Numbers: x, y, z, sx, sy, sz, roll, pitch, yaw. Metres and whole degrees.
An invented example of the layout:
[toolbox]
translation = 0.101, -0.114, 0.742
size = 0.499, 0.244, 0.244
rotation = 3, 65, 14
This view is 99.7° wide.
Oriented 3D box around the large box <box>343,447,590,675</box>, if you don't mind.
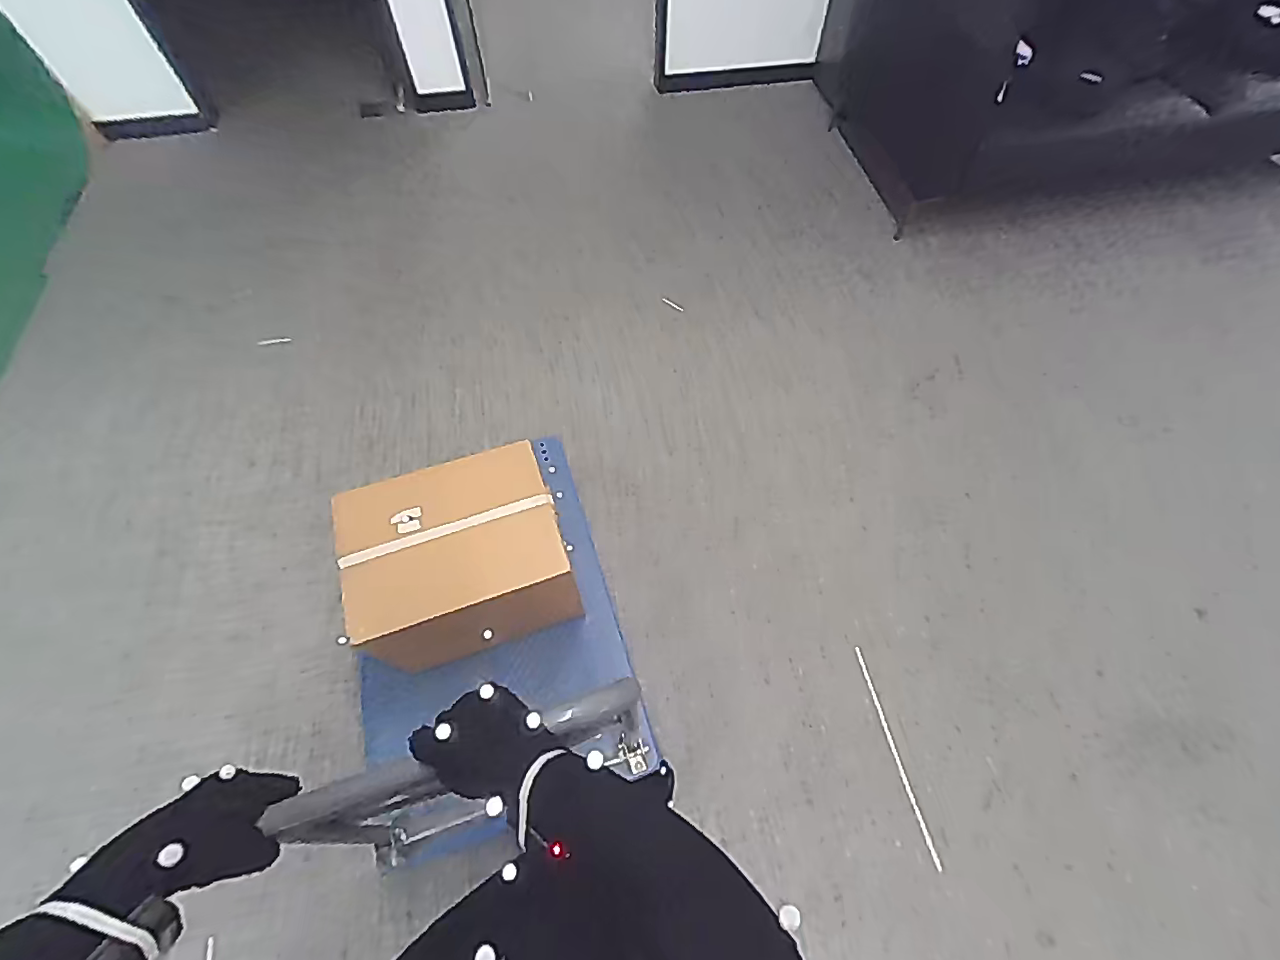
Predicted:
[large box]
translation = -0.354, 0.184, 1.173
size = 0.408, 0.320, 0.320
rotation = -18, 62, -10
